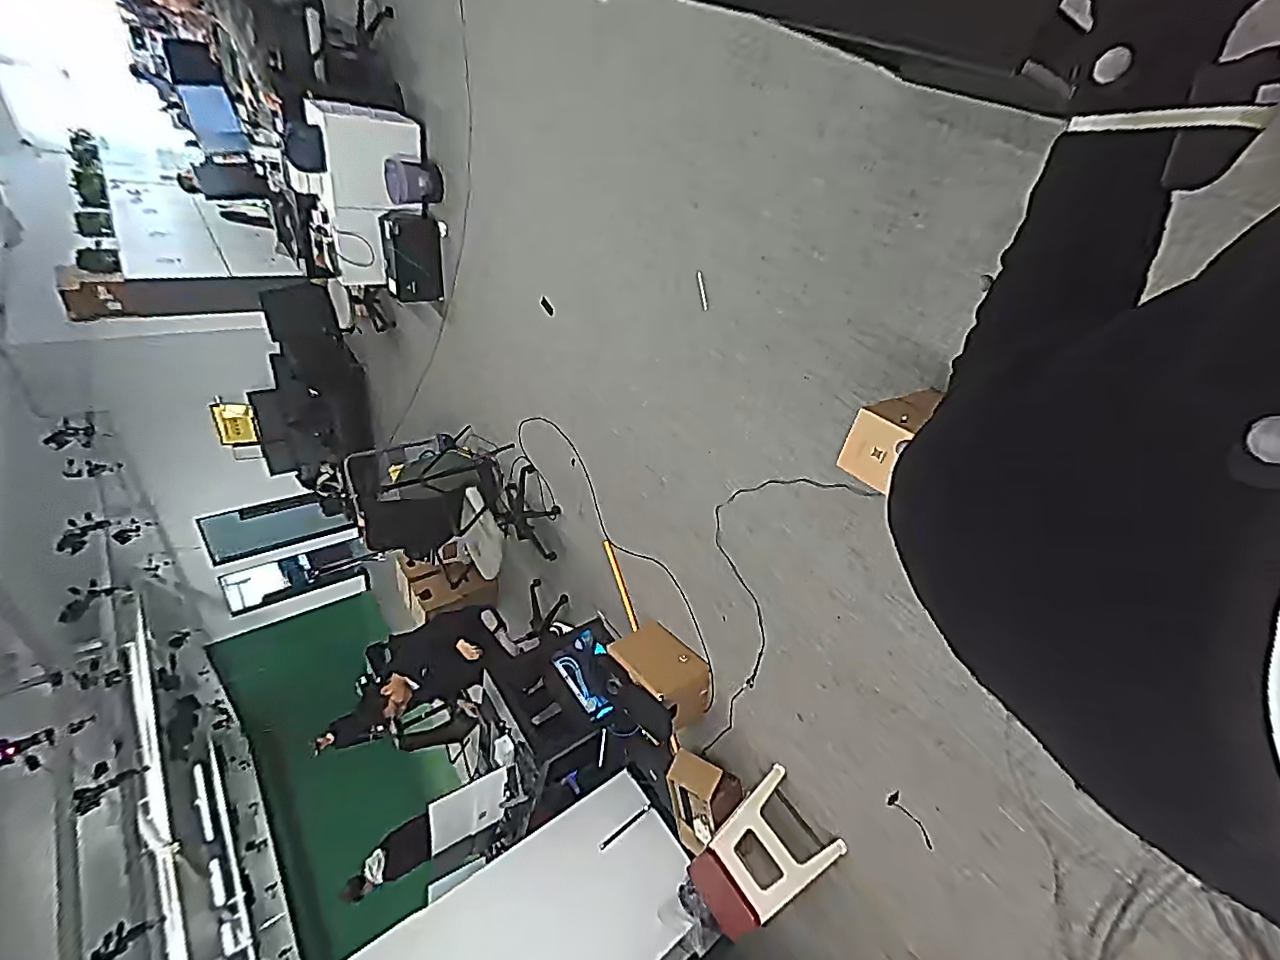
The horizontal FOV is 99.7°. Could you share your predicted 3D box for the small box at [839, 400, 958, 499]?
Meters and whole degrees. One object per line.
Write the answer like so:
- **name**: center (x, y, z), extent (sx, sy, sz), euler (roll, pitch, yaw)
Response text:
- **small box**: center (0.629, -0.083, 1.315), extent (0.179, 0.176, 0.168), euler (41, 133, 37)
